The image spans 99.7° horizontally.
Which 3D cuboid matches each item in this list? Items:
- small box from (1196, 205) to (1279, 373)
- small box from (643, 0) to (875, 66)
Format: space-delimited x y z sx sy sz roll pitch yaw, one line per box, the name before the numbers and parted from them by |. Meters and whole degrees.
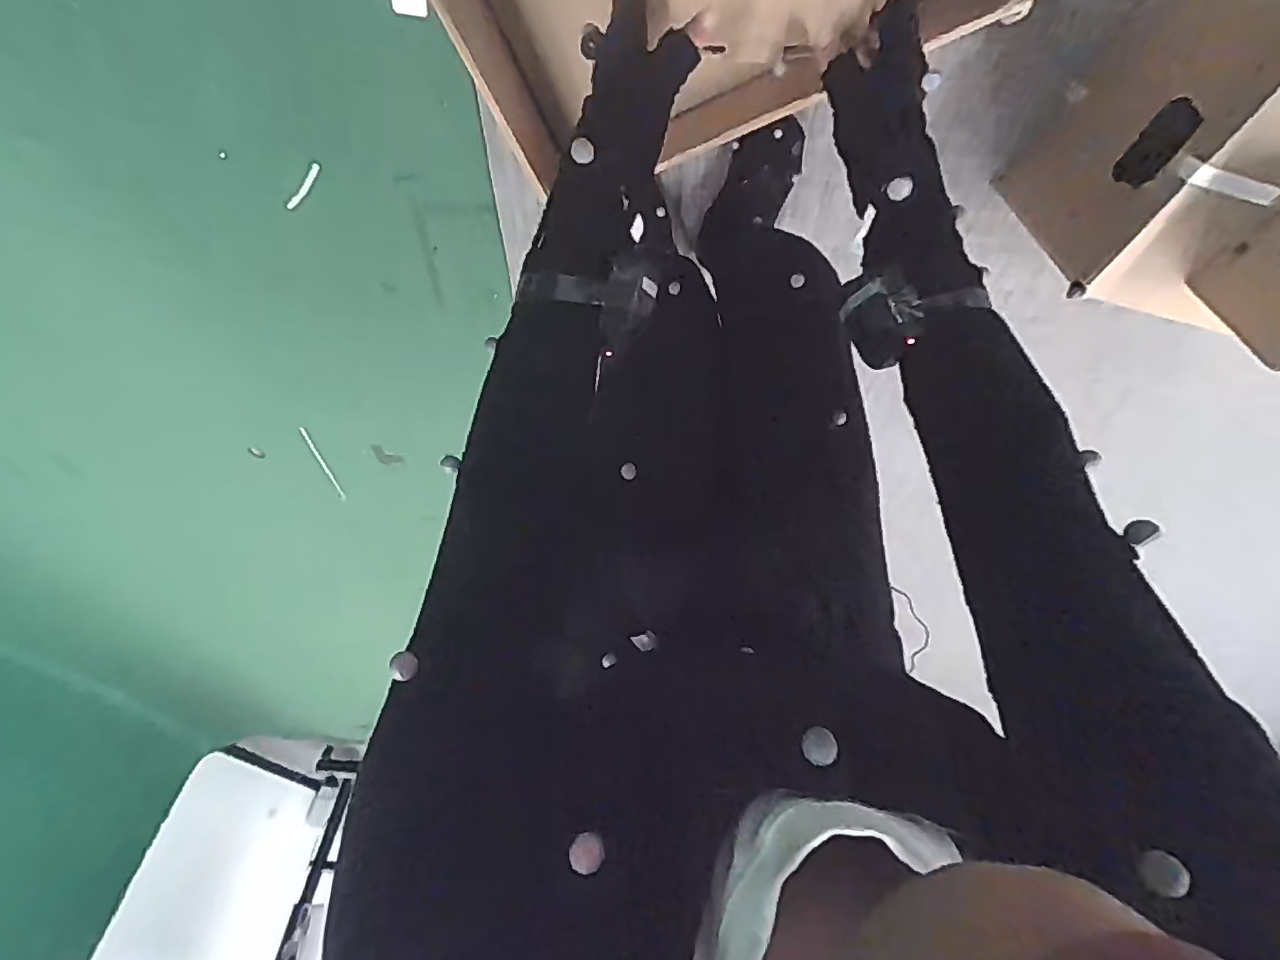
small box | 0.770 -0.215 0.568 0.179 0.176 0.168 8 141 -3
small box | 0.087 -0.430 0.415 0.168 0.176 0.179 0 126 0
